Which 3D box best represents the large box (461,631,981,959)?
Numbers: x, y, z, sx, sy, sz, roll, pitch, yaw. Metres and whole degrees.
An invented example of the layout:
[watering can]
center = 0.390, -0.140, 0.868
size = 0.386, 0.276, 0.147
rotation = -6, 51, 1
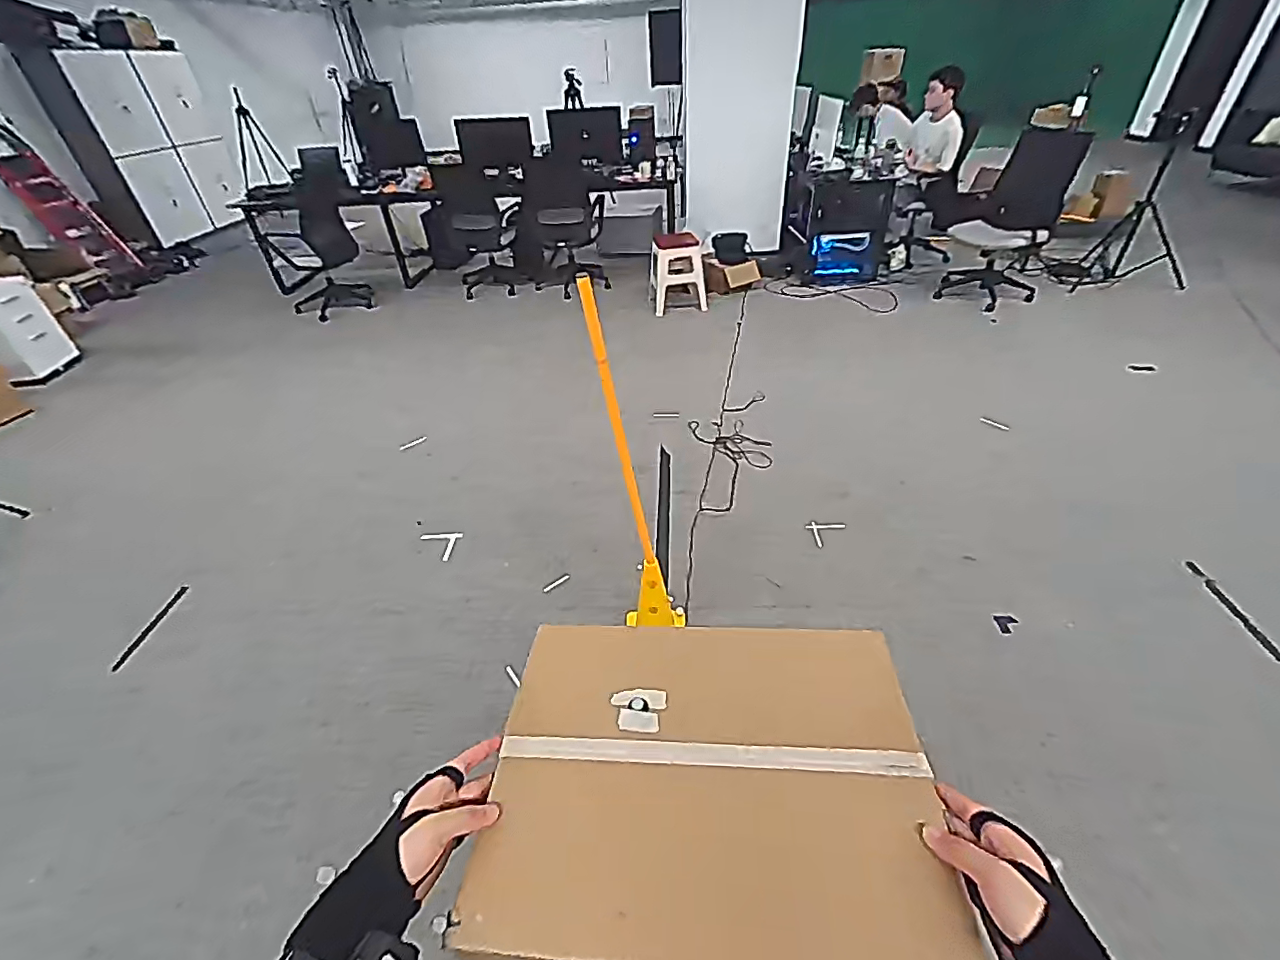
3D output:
[large box]
center = 0.080, 0.395, 0.616
size = 0.408, 0.320, 0.320
rotation = -2, 34, 8
